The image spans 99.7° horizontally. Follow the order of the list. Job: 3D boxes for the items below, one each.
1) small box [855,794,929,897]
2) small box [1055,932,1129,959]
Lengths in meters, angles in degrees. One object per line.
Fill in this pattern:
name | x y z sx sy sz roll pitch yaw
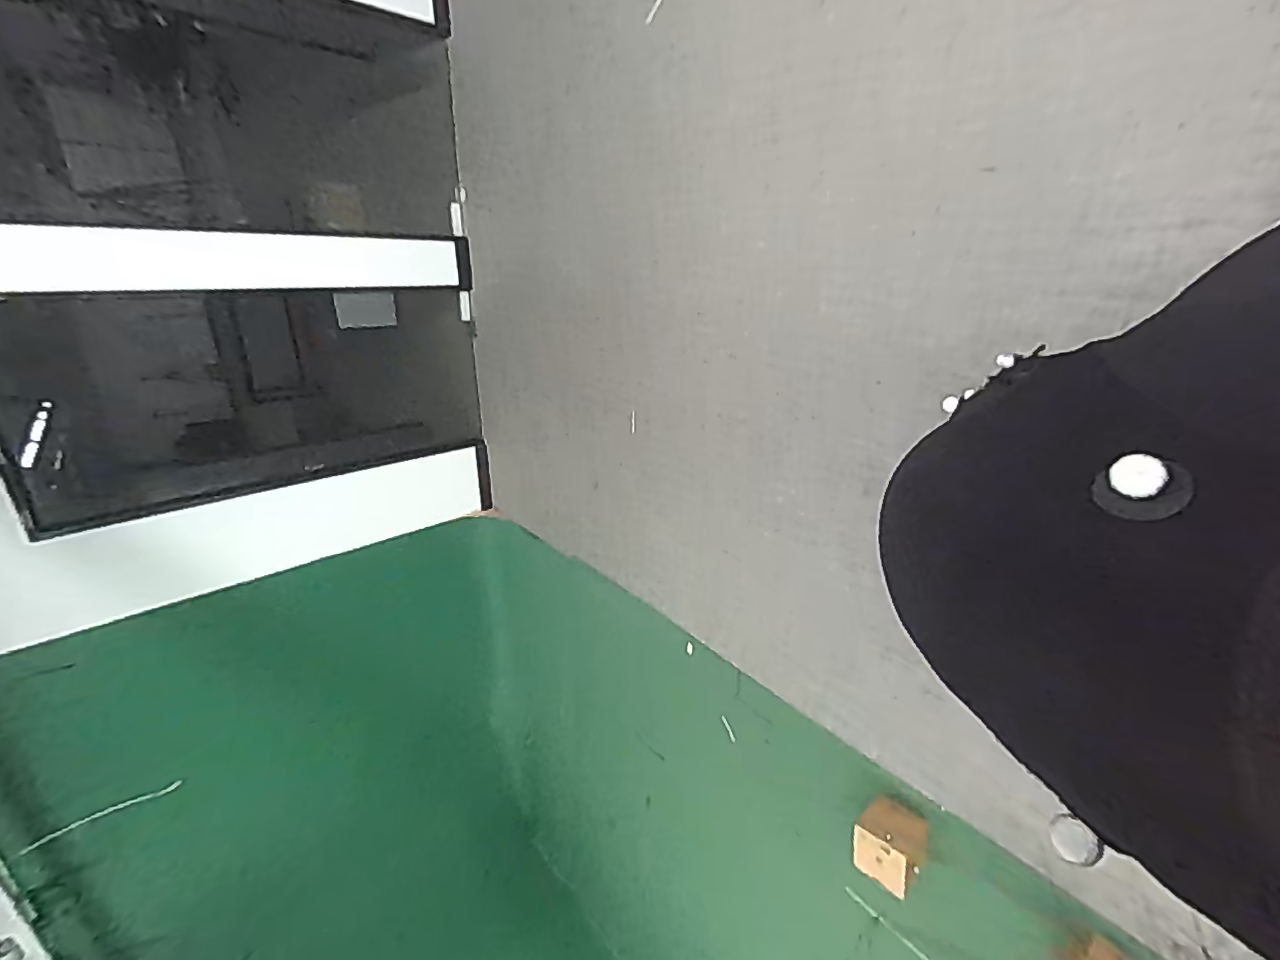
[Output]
small box | 0.814 1.171 1.744 0.168 0.176 0.179 13 114 48
small box | 1.174 1.306 1.371 0.168 0.176 0.179 41 132 33
